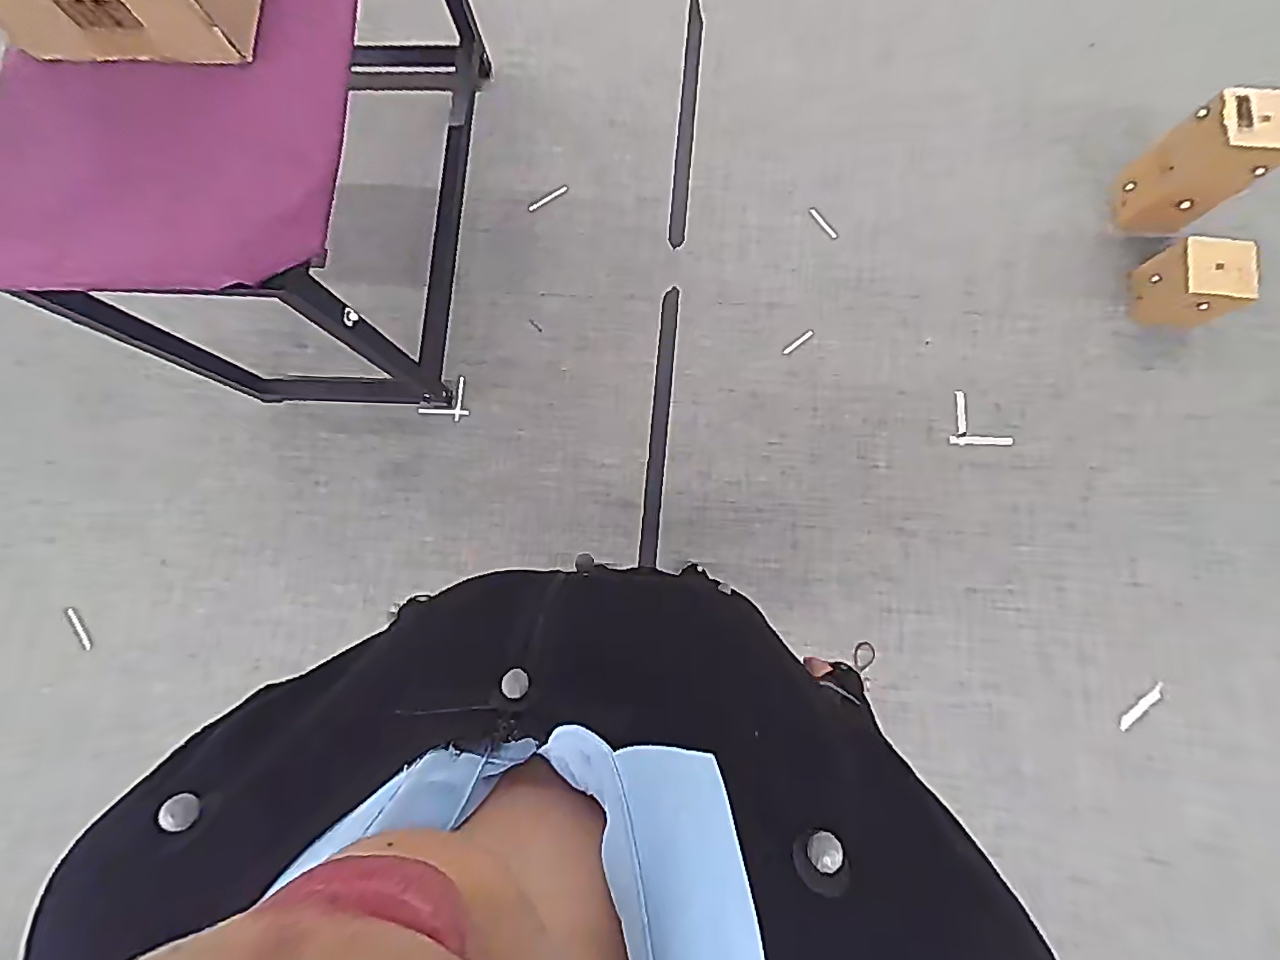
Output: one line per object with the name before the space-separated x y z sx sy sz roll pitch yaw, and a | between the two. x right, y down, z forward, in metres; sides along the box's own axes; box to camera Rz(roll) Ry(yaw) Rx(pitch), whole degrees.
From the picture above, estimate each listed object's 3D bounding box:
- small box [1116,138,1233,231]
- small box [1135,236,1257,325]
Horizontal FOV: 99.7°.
small box | 1.527 -0.841 1.553 0.179 0.176 0.168 7 80 4
small box | 1.530 -0.546 1.500 0.179 0.176 0.168 7 82 3
